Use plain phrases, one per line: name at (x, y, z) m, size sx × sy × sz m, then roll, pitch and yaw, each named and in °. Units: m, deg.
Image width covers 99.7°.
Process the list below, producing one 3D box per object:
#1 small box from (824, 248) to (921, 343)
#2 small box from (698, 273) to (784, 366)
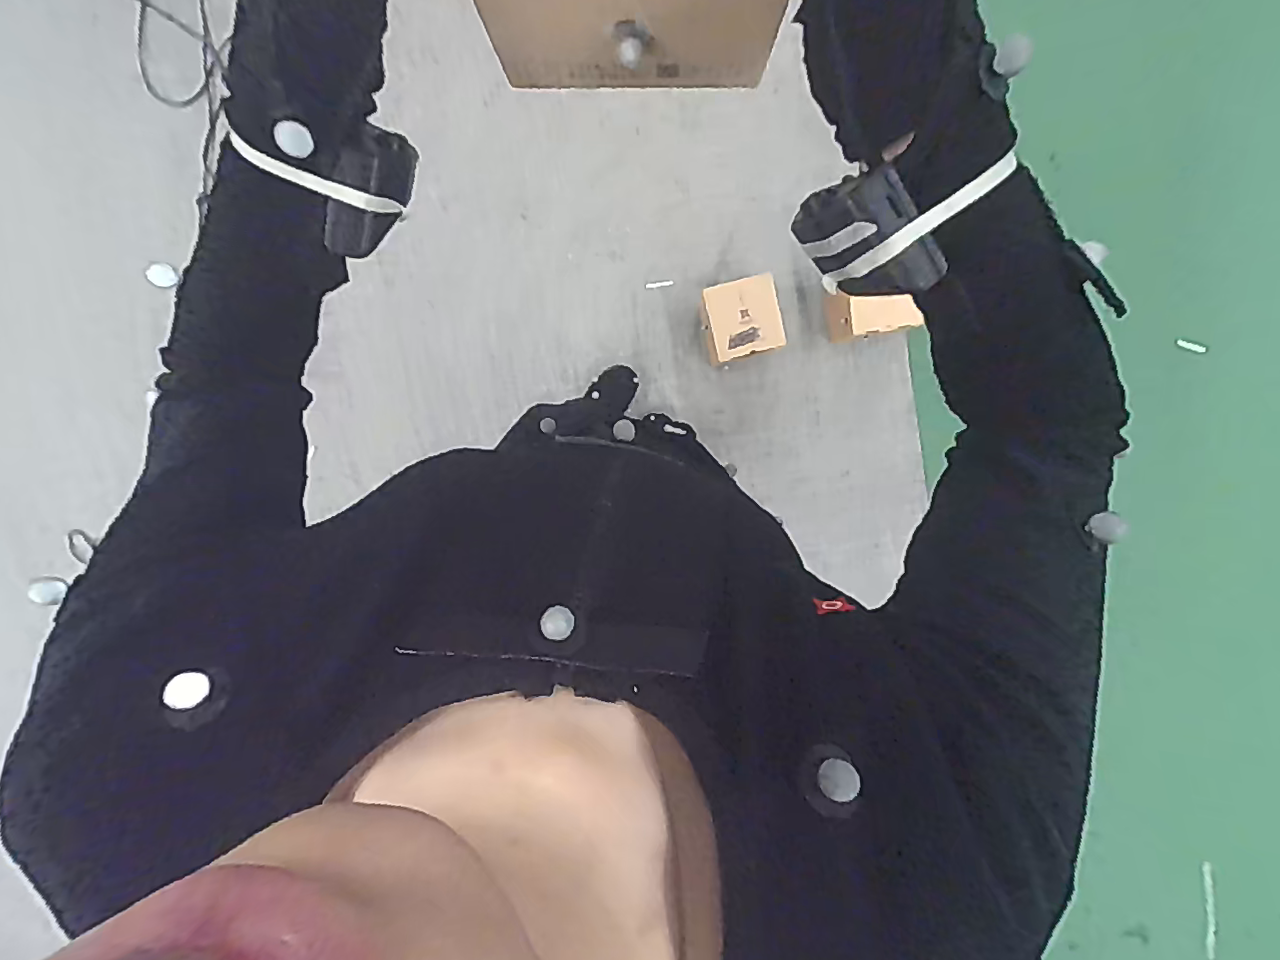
small box at (0.564, -0.445, 1.329) m, size 0.168 × 0.176 × 0.179 m, roll -9°, pitch 97°, yaw 4°
small box at (0.245, -0.389, 1.345) m, size 0.168 × 0.176 × 0.179 m, roll -14°, pitch 96°, yaw 3°
